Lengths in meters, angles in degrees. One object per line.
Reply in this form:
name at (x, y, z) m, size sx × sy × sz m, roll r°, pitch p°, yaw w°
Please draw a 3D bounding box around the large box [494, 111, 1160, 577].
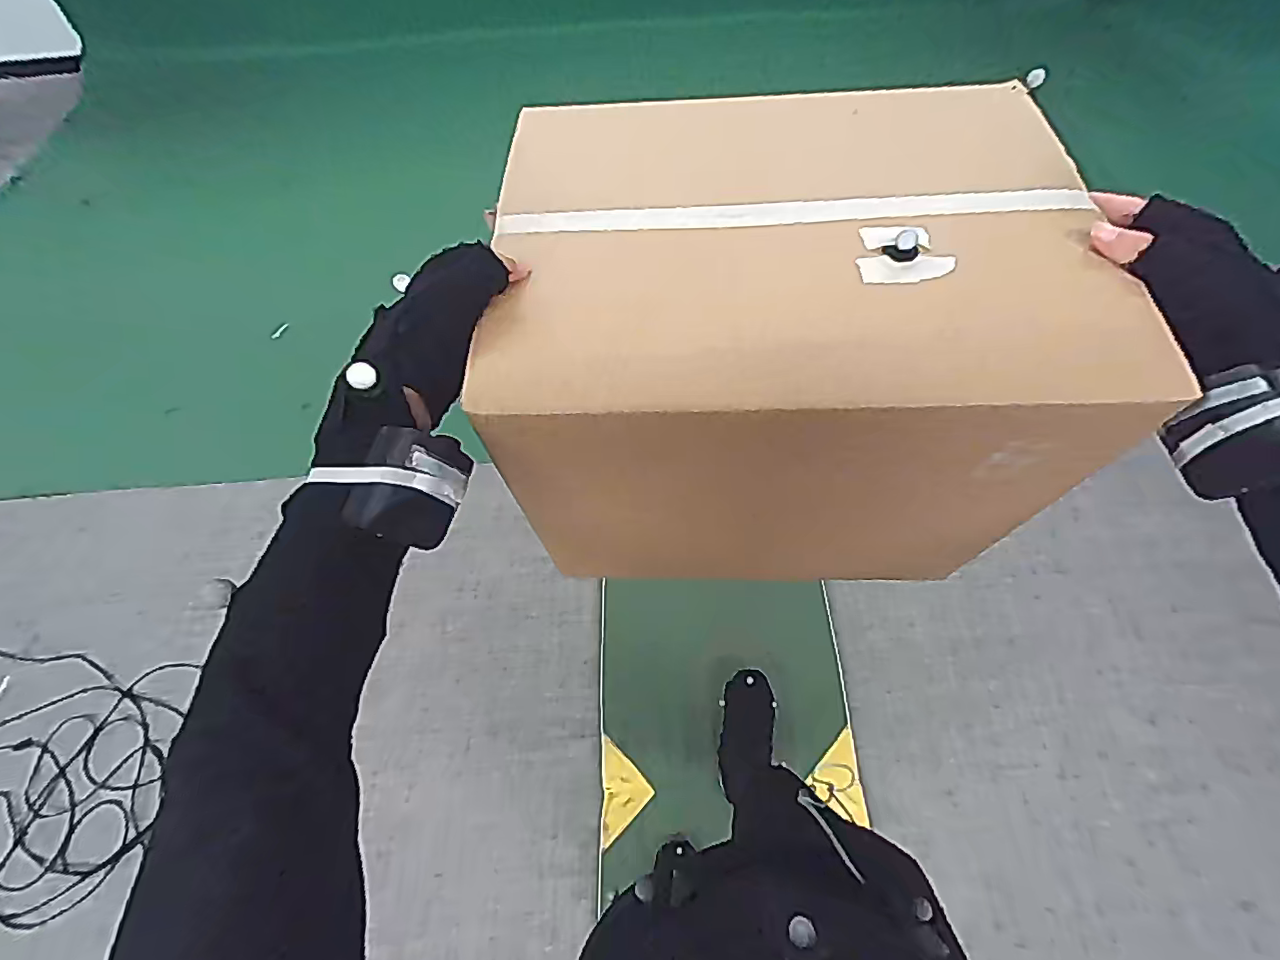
large box at (0.112, -0.103, 0.522) m, size 0.408 × 0.320 × 0.320 m, roll -1°, pitch 62°, yaw 3°
